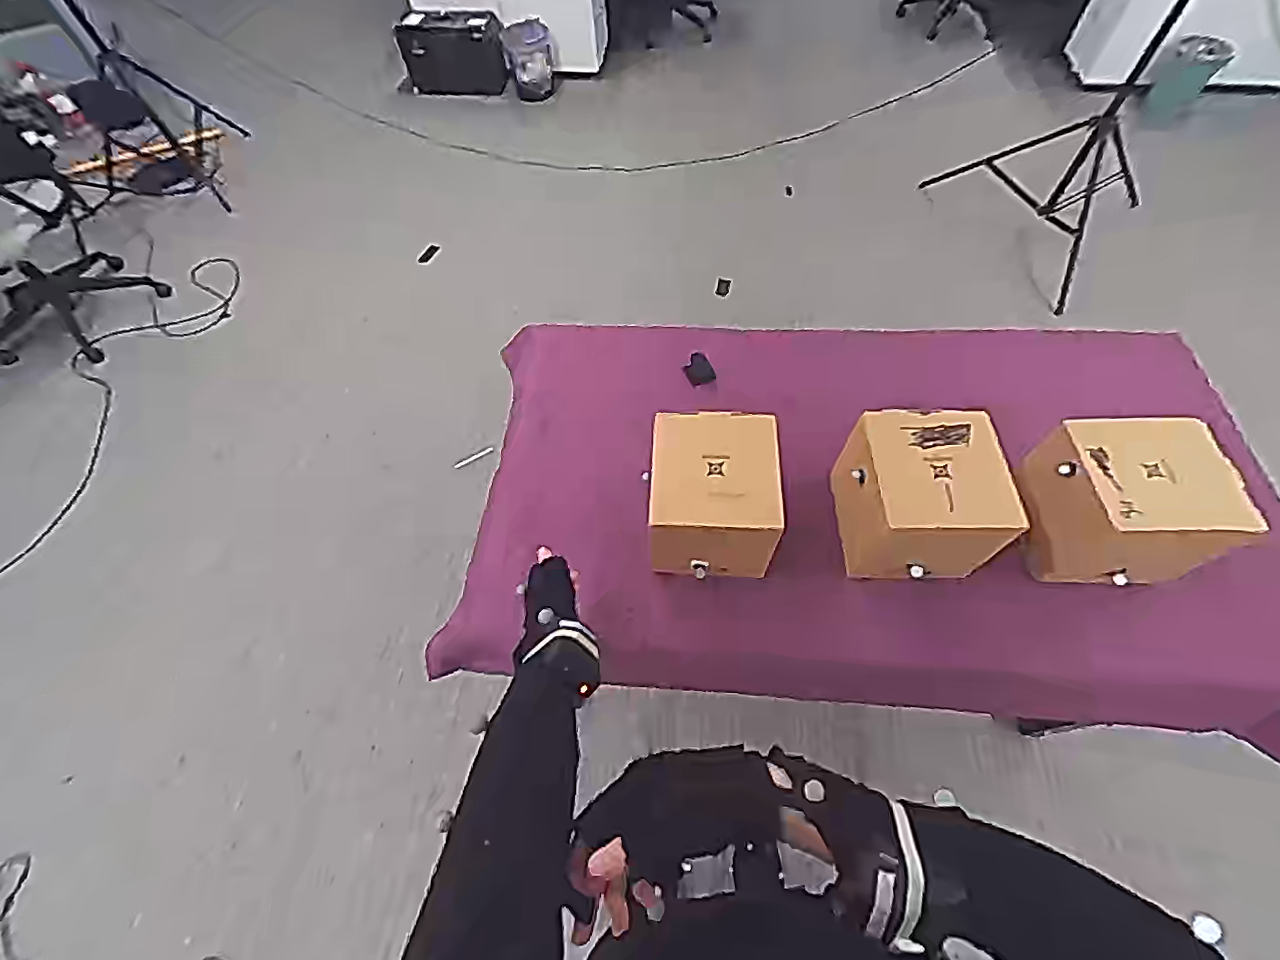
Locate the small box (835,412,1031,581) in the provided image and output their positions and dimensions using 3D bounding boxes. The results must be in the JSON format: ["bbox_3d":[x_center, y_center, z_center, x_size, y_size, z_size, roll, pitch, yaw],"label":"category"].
[{"bbox_3d":[0.382,0.025,0.748,0.168,0.176,0.179,0,59,3],"label":"small box"}]

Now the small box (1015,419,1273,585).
[{"bbox_3d":[0.645,0.035,0.730,0.179,0.176,0.168,1,58,3],"label":"small box"}]

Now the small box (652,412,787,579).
[{"bbox_3d":[0.104,0.024,0.762,0.168,0.176,0.179,1,59,5],"label":"small box"}]
